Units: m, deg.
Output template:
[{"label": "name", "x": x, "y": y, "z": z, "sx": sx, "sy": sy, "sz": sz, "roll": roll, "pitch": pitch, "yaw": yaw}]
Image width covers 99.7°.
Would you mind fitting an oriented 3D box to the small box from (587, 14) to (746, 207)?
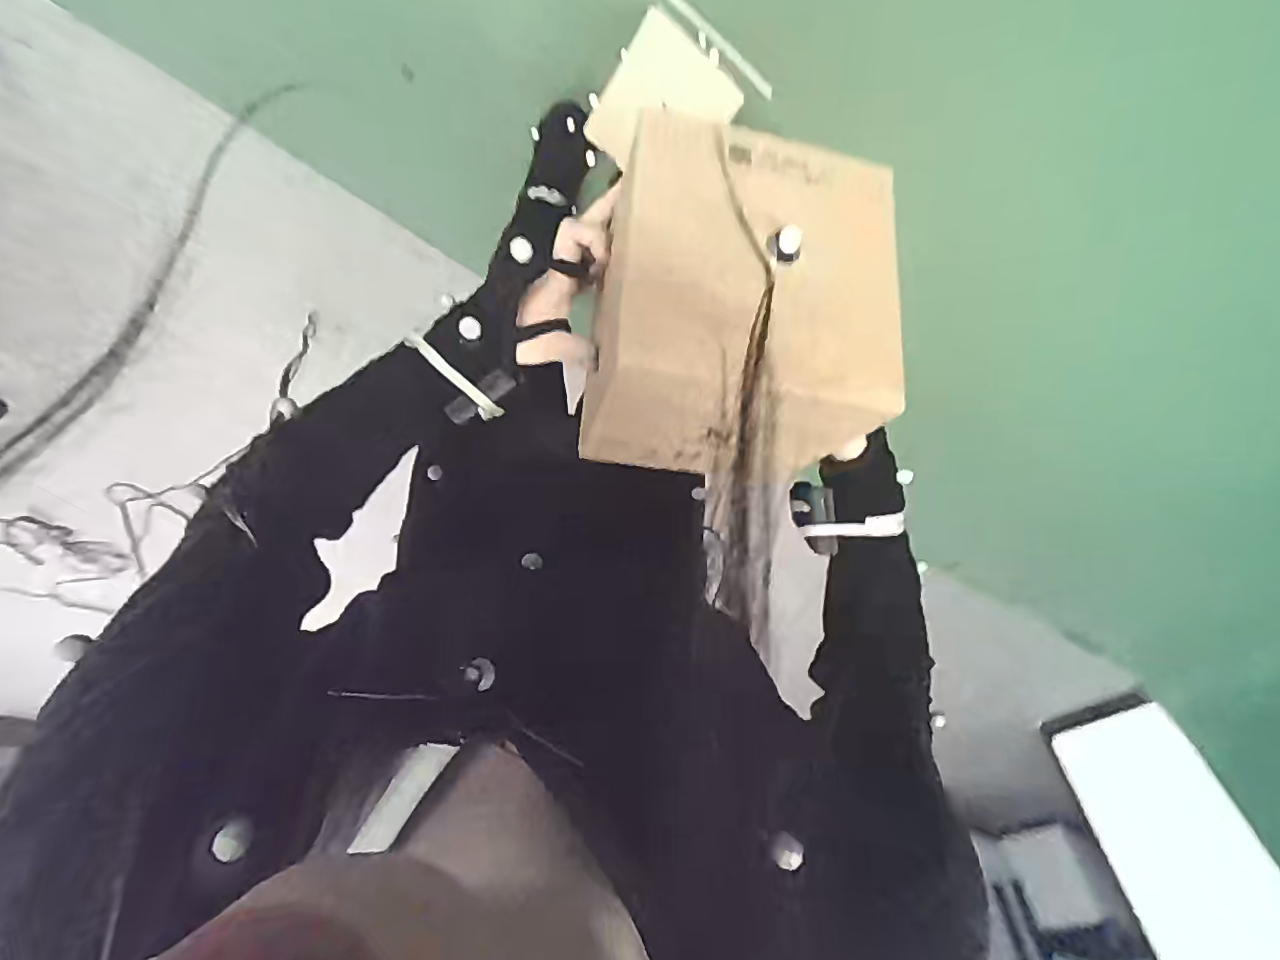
[{"label": "small box", "x": 0.038, "y": -0.570, "z": 0.836, "sx": 0.168, "sy": 0.176, "sz": 0.179, "roll": 30, "pitch": 126, "yaw": -20}]
